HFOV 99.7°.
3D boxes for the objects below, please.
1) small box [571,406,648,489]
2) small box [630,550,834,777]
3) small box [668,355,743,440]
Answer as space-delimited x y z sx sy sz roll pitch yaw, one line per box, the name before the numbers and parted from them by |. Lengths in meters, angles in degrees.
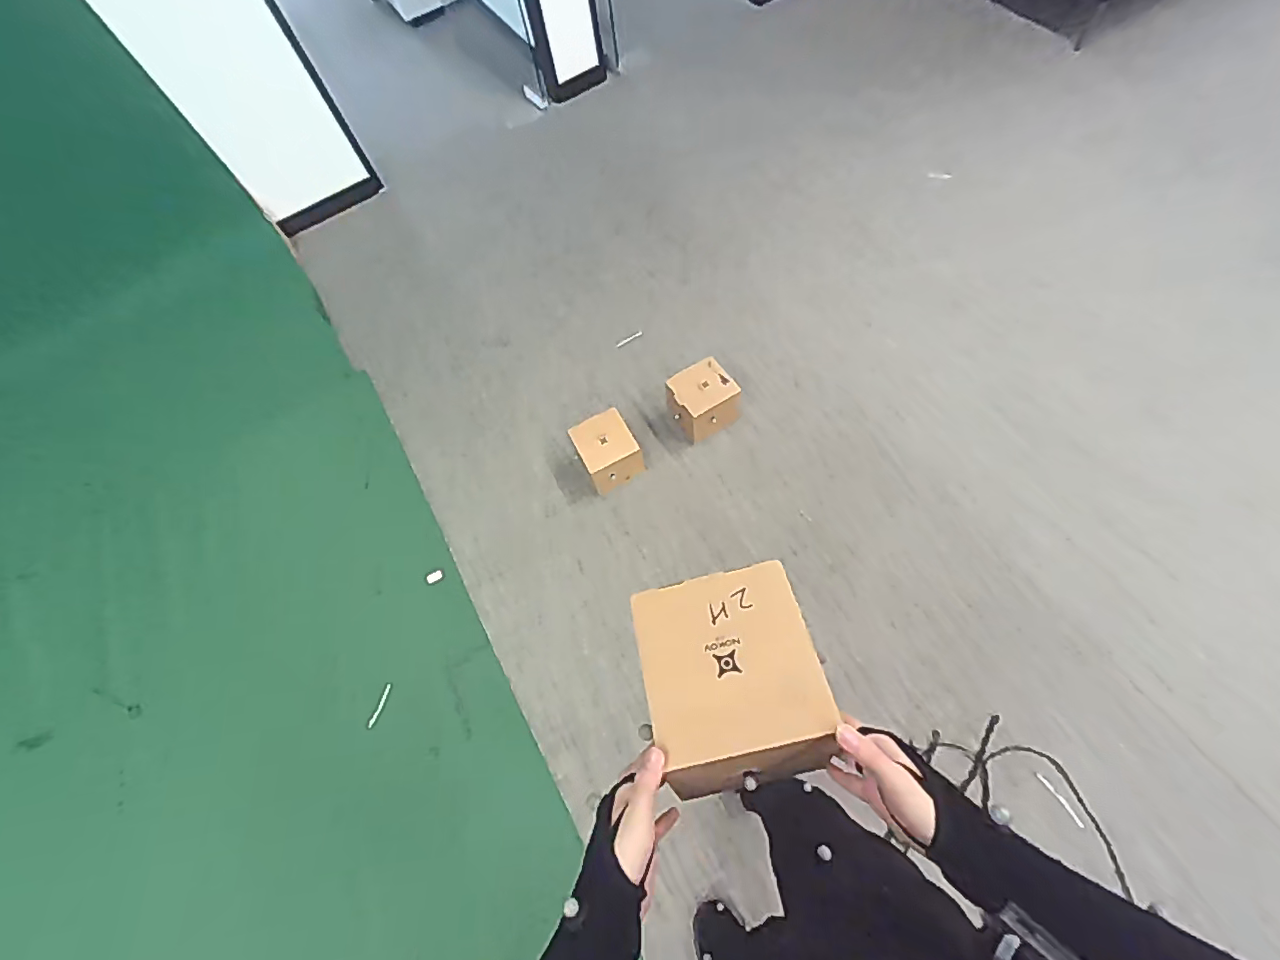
small box | -0.089 -0.090 1.681 0.168 0.176 0.179 -28 63 -6
small box | 0.095 0.207 0.588 0.168 0.176 0.179 -14 50 2
small box | 0.209 -0.256 1.716 0.179 0.176 0.168 -31 65 -7
